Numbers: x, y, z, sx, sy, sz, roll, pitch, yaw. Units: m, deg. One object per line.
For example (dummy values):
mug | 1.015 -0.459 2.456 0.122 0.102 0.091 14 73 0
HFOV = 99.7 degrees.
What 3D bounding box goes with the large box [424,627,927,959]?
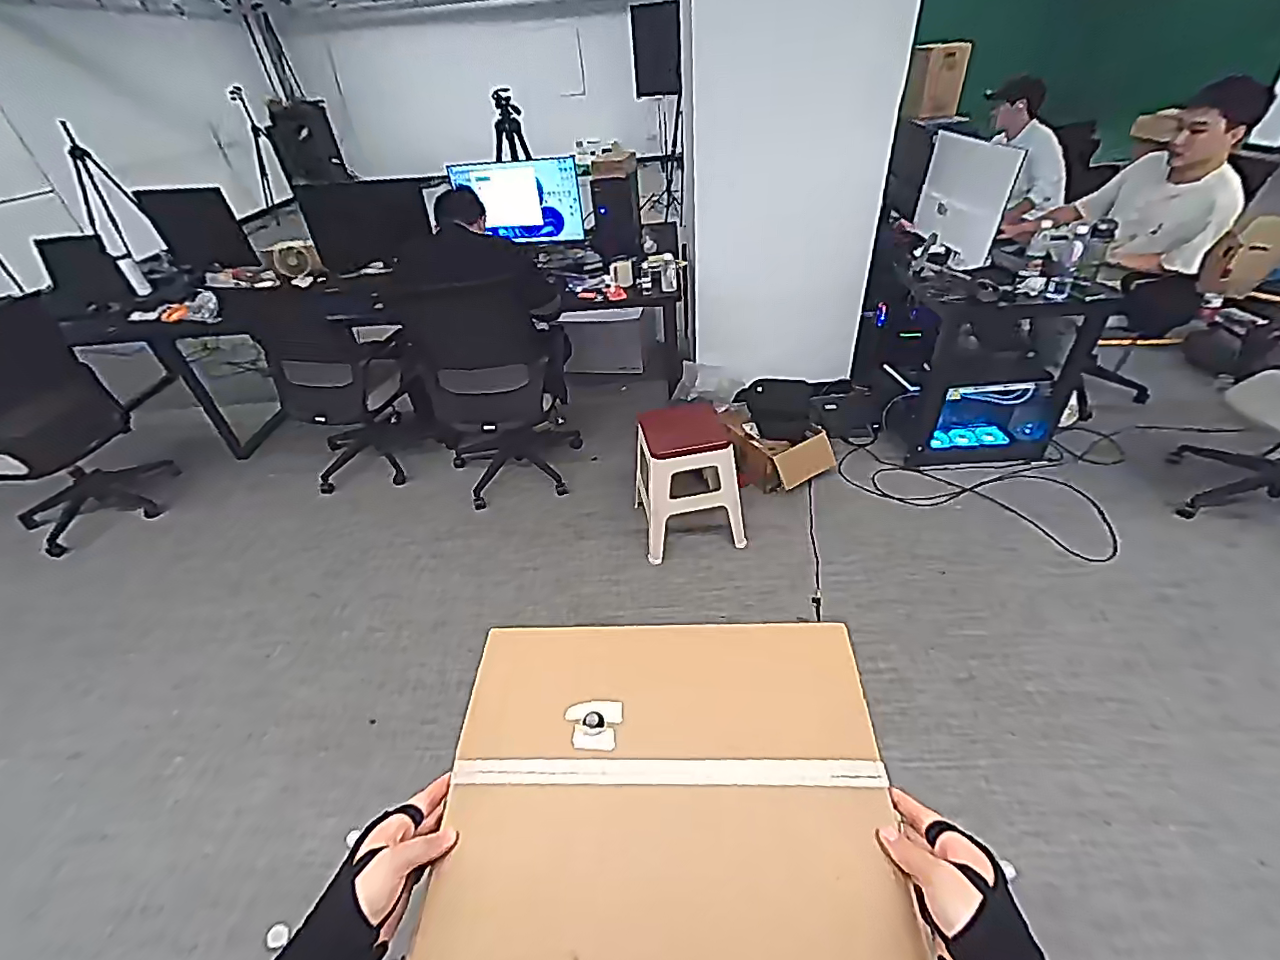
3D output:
large box | 0.040 0.392 0.618 0.408 0.320 0.320 -4 43 6
